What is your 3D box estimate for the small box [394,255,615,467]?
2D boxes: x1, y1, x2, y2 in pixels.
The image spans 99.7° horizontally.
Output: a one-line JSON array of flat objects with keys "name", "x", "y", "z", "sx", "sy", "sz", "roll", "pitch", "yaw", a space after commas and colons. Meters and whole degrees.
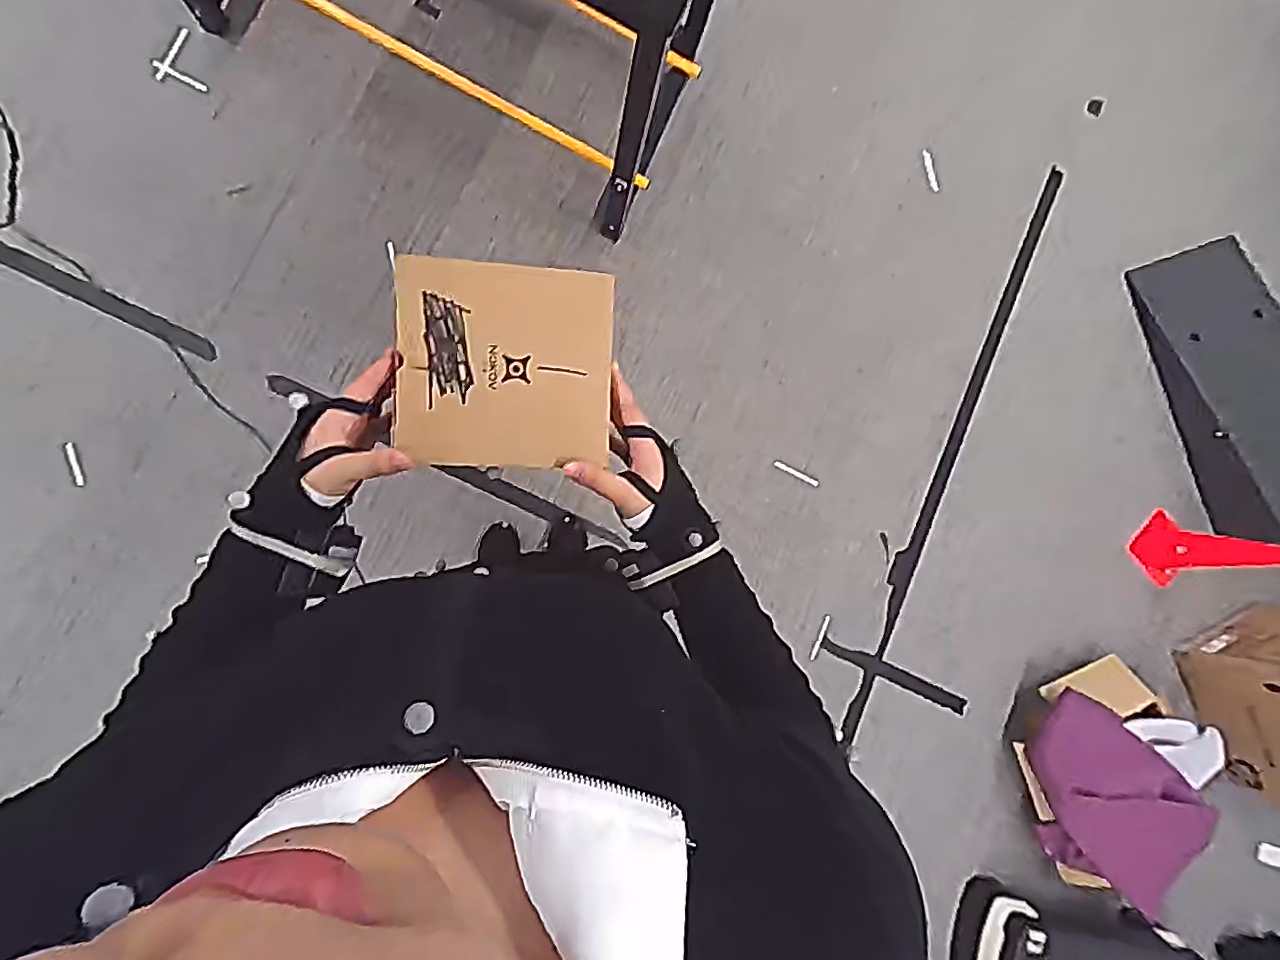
[{"name": "small box", "x": -0.123, "y": -0.099, "z": 0.521, "sx": 0.179, "sy": 0.176, "sz": 0.168, "roll": 1, "pitch": 95, "yaw": -11}]
